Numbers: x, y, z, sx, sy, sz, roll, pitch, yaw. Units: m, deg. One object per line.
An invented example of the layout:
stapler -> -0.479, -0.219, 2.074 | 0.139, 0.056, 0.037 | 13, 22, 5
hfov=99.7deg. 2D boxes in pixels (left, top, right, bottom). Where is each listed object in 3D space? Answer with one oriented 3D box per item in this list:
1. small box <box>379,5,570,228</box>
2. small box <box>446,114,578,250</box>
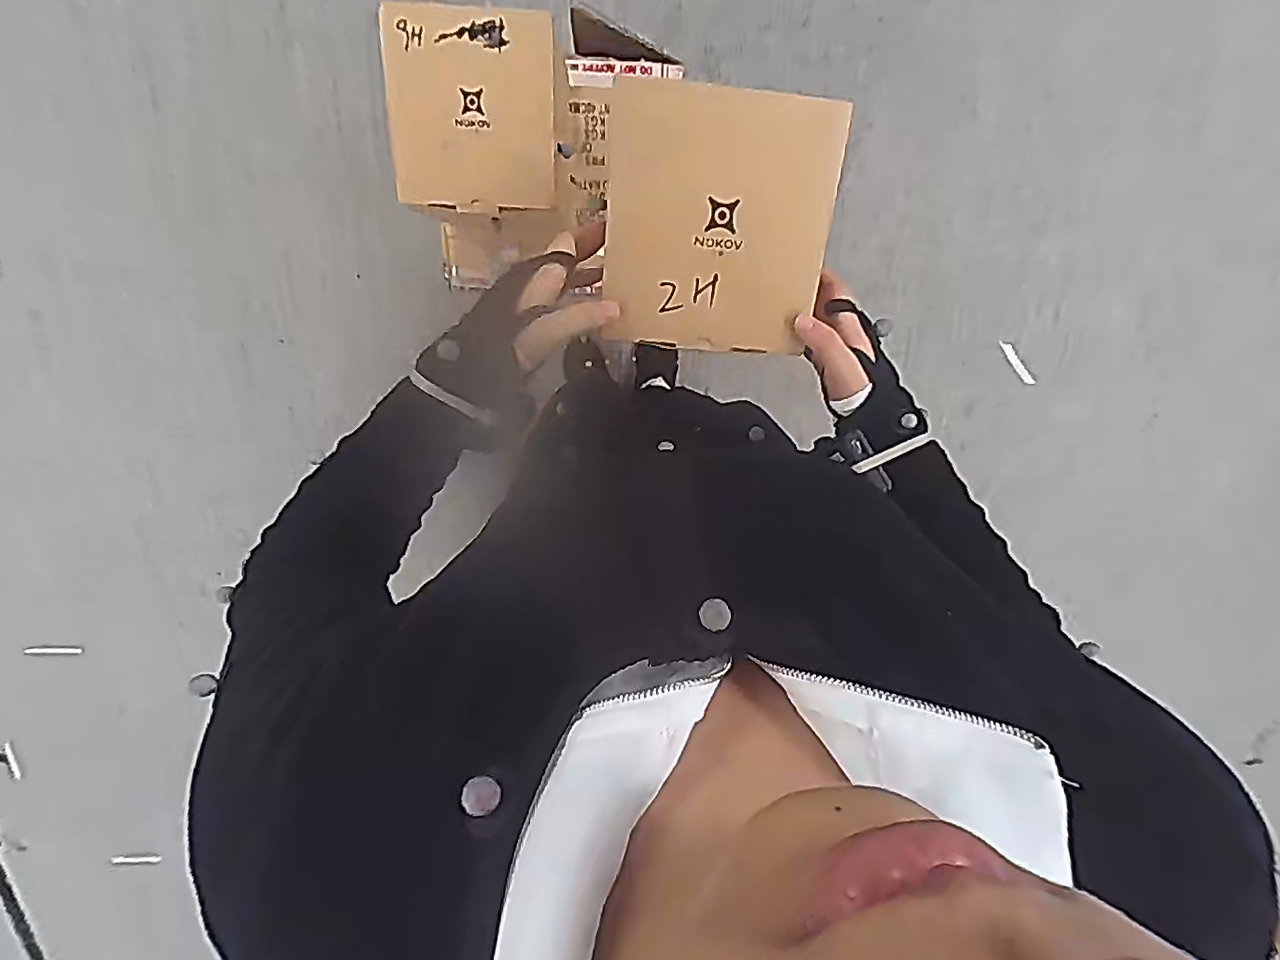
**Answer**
small box -> -0.168, -0.388, 0.611 | 0.168, 0.176, 0.179 | 1, 110, -2
small box -> -0.178, -0.429, 0.770 | 0.168, 0.176, 0.179 | -1, 110, -2
